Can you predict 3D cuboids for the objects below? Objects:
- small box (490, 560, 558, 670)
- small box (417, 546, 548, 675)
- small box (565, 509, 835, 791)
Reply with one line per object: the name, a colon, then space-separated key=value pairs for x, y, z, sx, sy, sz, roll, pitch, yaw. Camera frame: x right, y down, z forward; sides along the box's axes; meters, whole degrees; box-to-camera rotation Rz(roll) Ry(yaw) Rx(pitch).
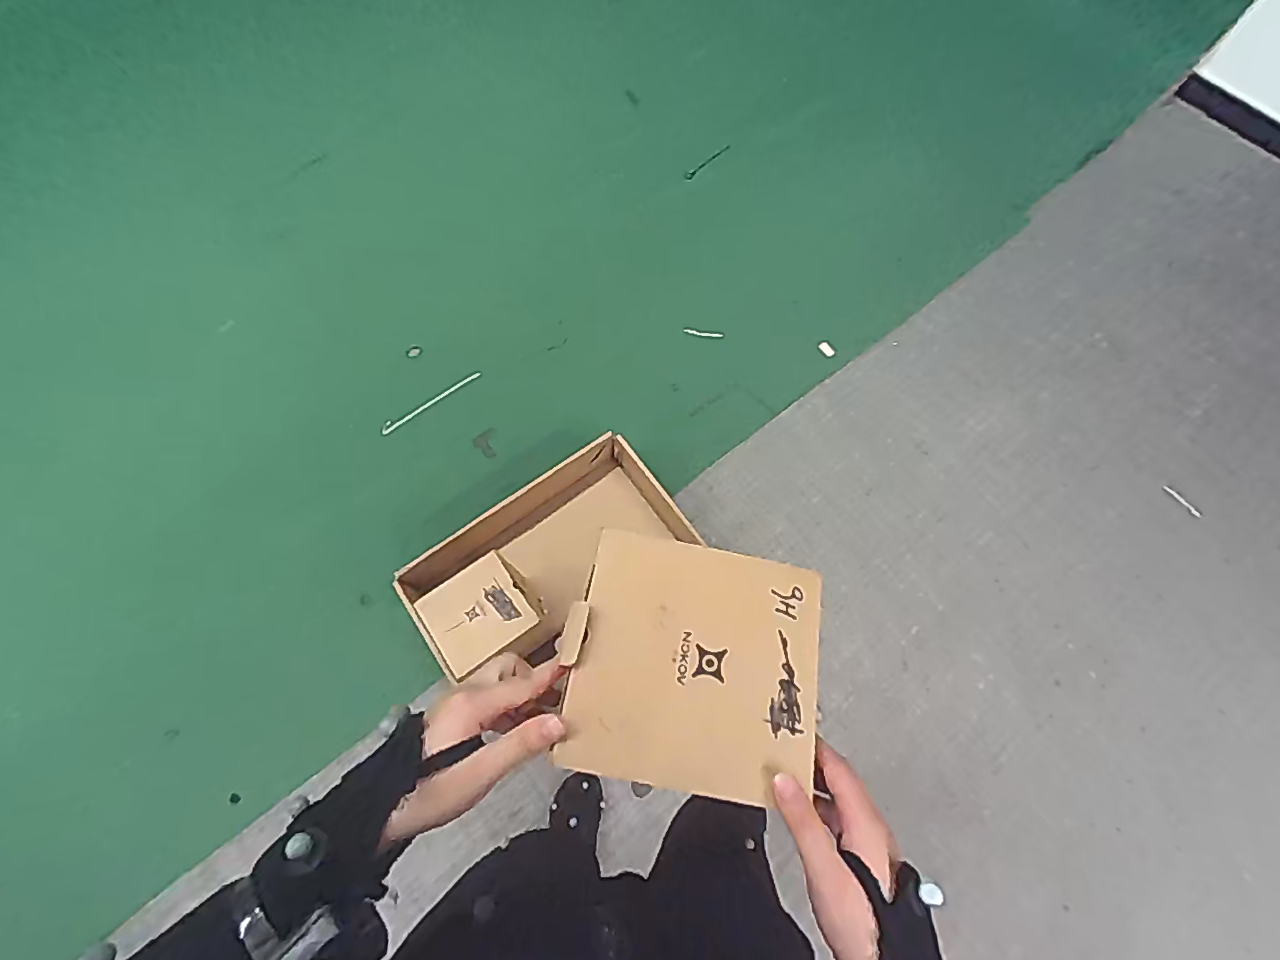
small box: x=-0.301 y=0.309 z=1.209 sx=0.179 sy=0.176 sz=0.168 roll=-35 pitch=76 yaw=-14
small box: x=-0.294 y=0.257 z=1.053 sx=0.179 sy=0.176 sz=0.168 roll=-34 pitch=75 yaw=-12
small box: x=0.041 y=0.144 z=0.450 sx=0.179 sy=0.176 sz=0.168 roll=12 pitch=65 yaw=-2
